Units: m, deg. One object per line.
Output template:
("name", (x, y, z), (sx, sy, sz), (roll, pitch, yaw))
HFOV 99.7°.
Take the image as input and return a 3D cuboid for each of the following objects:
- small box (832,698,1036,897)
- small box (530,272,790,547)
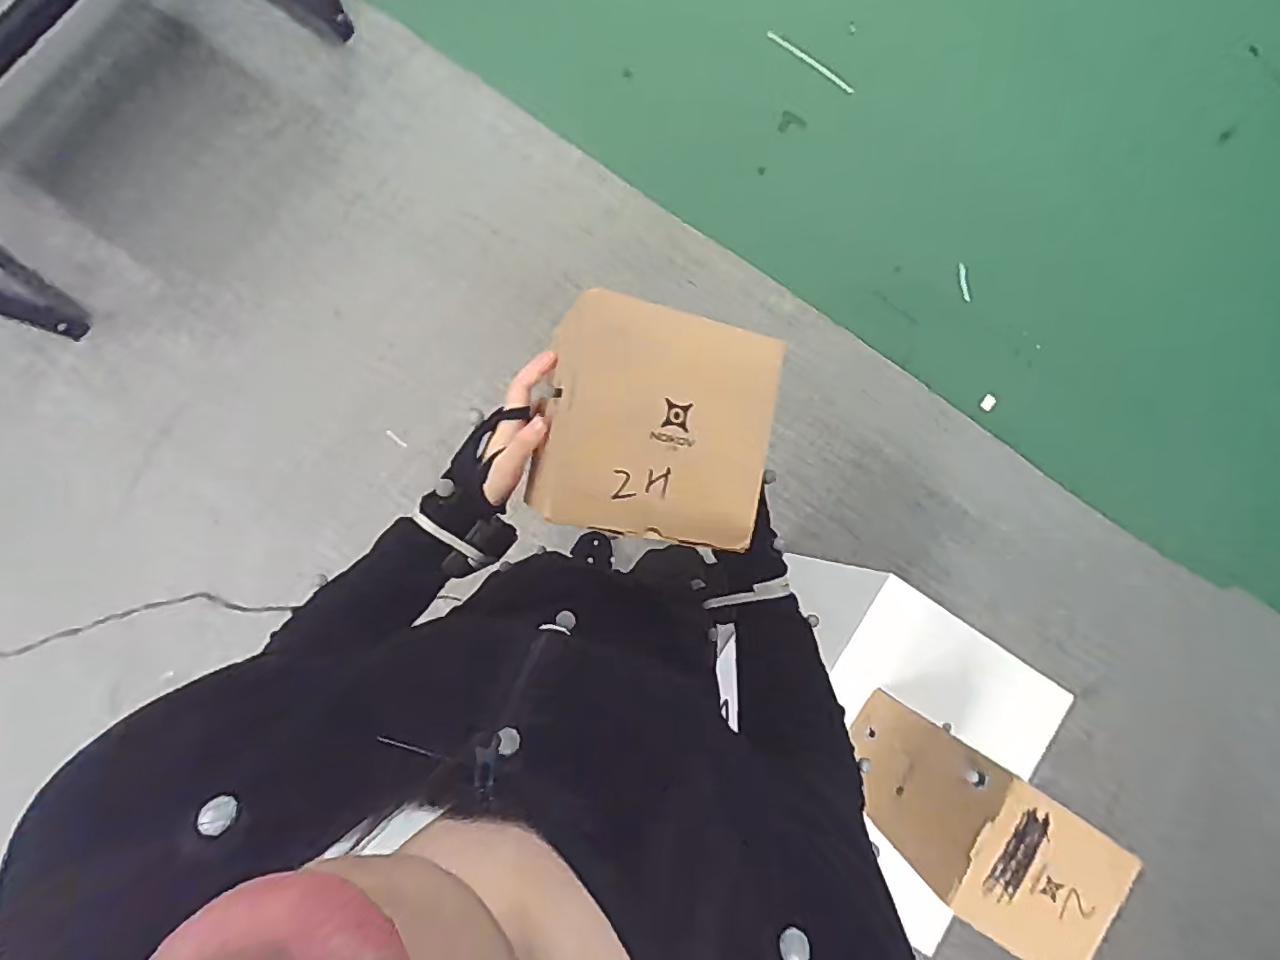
("small box", (0.436, 0.467, 0.829), (0.179, 0.176, 0.168), (37, 84, -1))
("small box", (0.004, -0.049, 0.471), (0.168, 0.176, 0.179), (10, 89, -17))
